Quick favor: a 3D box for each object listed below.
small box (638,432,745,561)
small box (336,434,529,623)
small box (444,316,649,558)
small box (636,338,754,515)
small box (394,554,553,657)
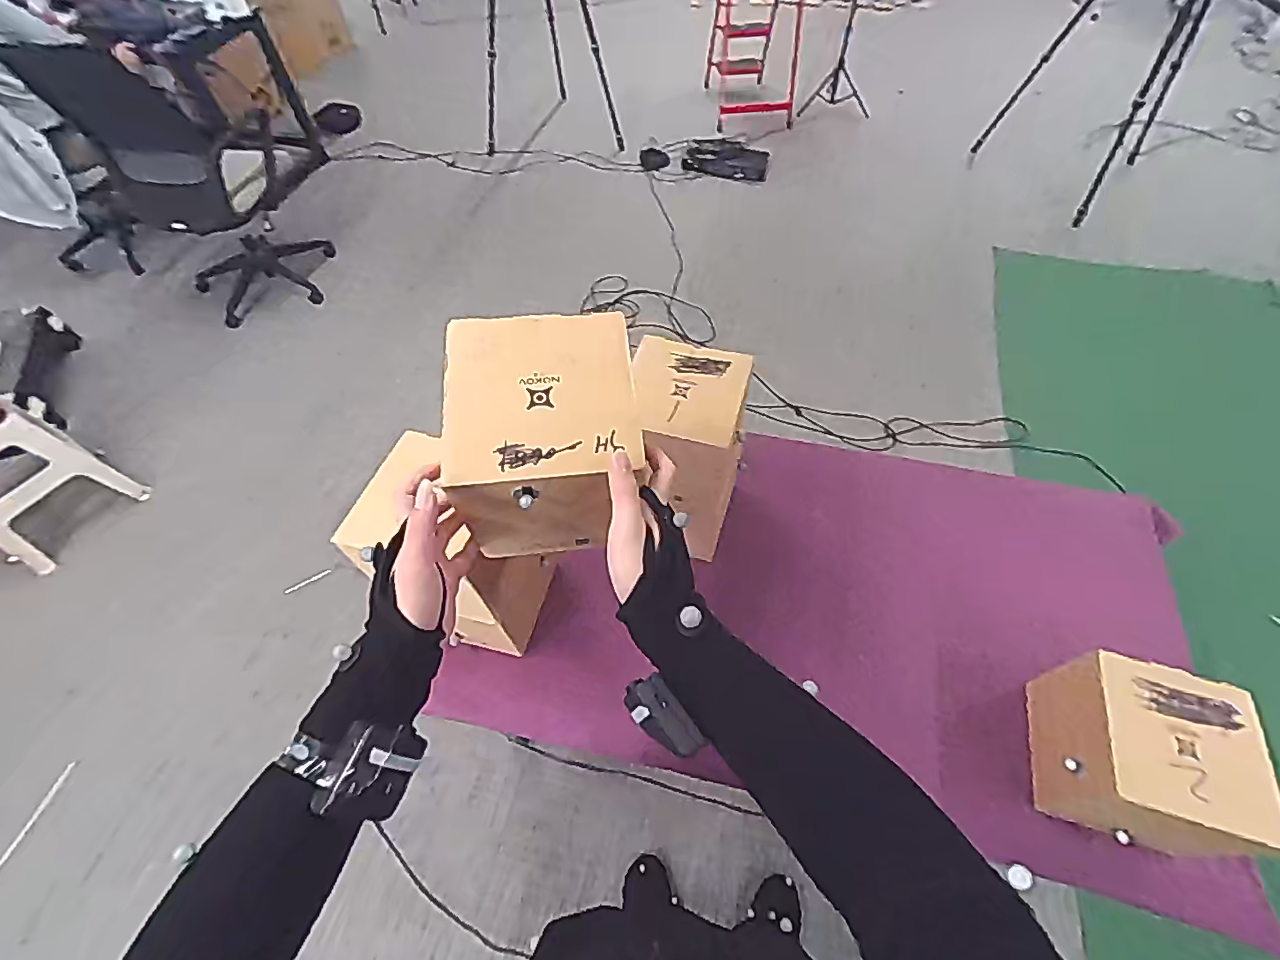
[{"bbox_3d":[0.074,0.013,0.939,0.168,0.176,0.179,15,58,12],"label":"small box"},{"bbox_3d":[-0.247,0.069,0.716,0.168,0.176,0.179,11,55,11],"label":"small box"},{"bbox_3d":[-0.084,-0.038,0.540,0.168,0.176,0.179,-5,62,-4],"label":"small box"},{"bbox_3d":[0.061,-0.076,0.801,0.168,0.176,0.179,14,58,11],"label":"small box"},{"bbox_3d":[-0.245,0.155,0.853,0.168,0.176,0.179,11,56,10],"label":"small box"}]
